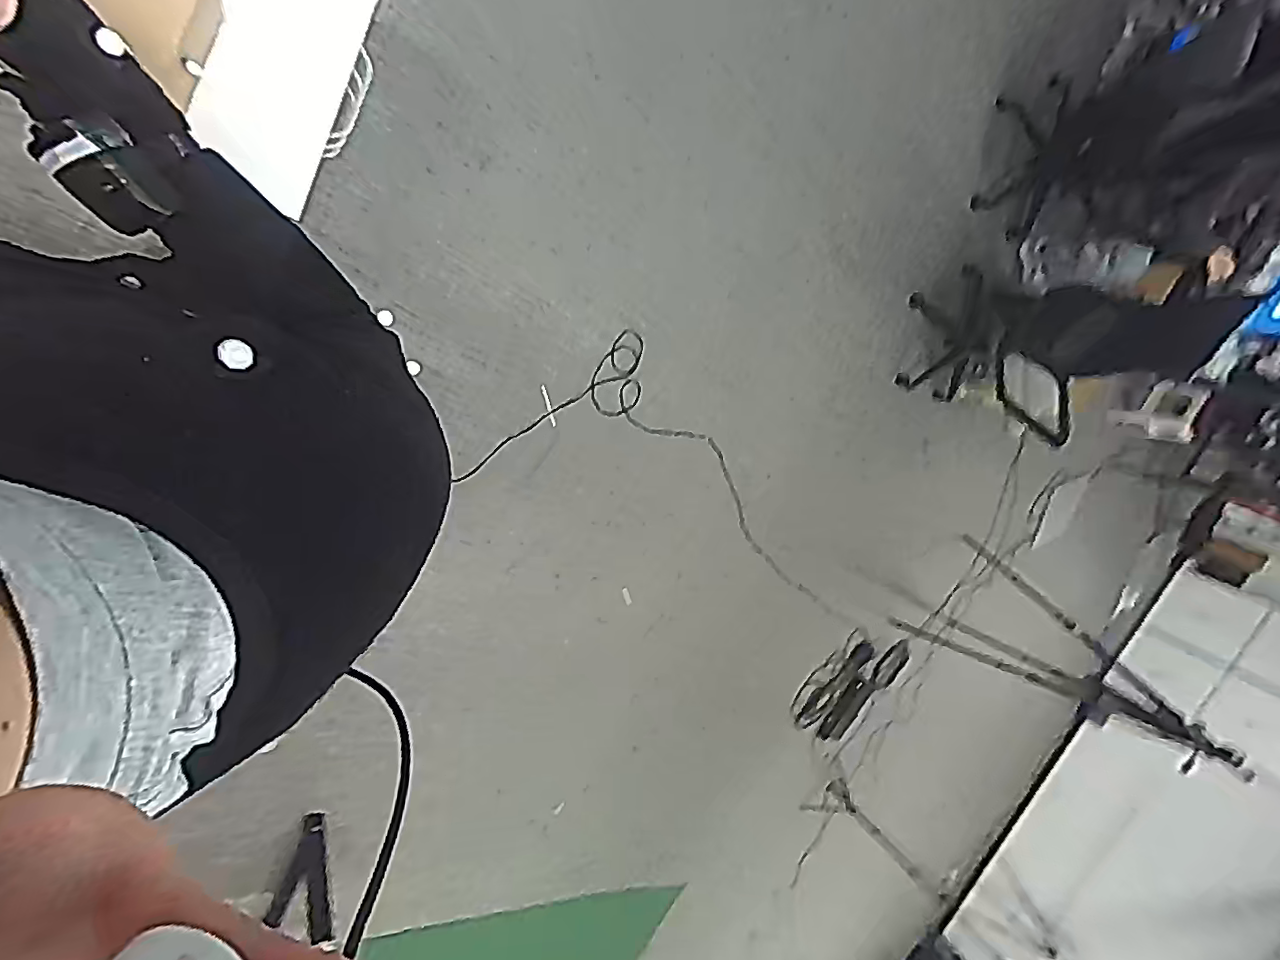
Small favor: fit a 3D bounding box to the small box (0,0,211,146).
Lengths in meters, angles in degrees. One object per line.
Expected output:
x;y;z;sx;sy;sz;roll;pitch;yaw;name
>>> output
-0.553;-0.469;0.535;0.168;0.176;0.179;22;96;-40;small box
